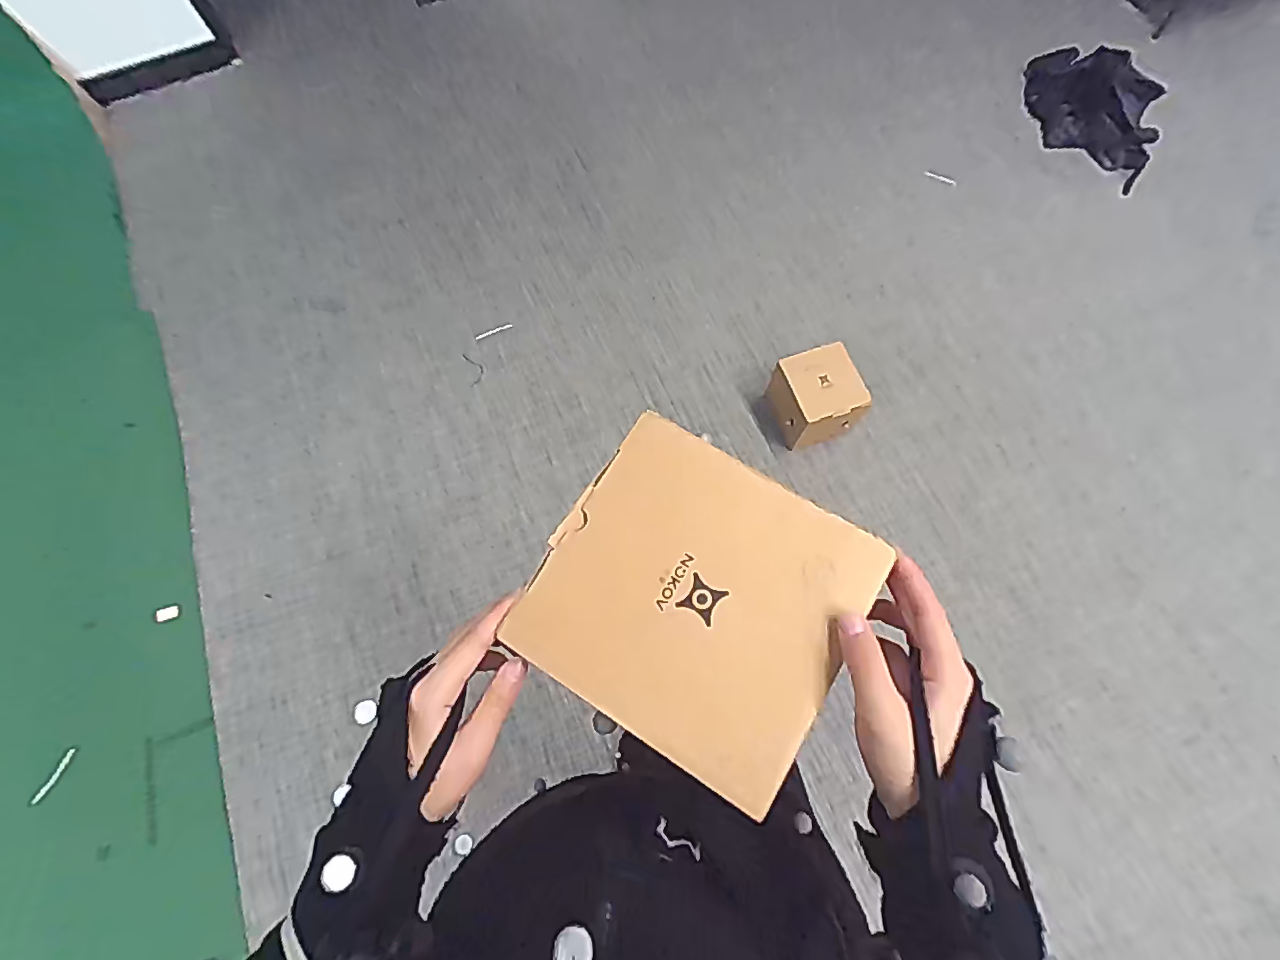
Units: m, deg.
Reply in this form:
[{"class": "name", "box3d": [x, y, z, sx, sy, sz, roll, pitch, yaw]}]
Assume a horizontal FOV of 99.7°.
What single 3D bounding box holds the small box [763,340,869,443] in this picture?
[{"class": "small box", "box3d": [0.420, -0.206, 1.319, 0.168, 0.176, 0.179, -18, 71, -6]}]
